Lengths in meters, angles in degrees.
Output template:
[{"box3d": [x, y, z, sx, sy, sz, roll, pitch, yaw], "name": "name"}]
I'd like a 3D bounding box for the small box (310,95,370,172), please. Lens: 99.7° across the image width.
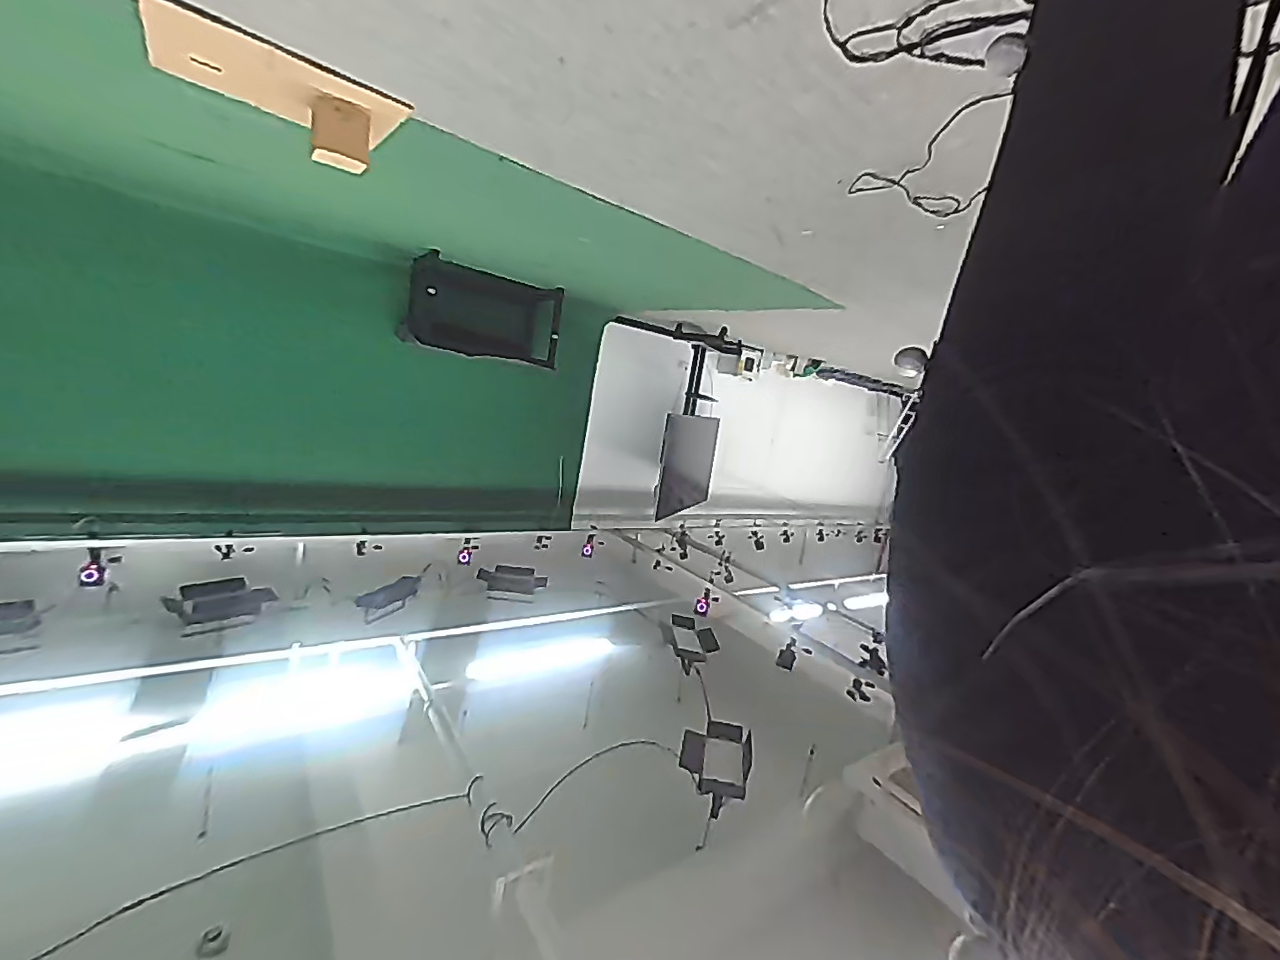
[{"box3d": [-1.092, -1.254, 1.966, 0.168, 0.176, 0.179, 1, -167, -38], "name": "small box"}]
